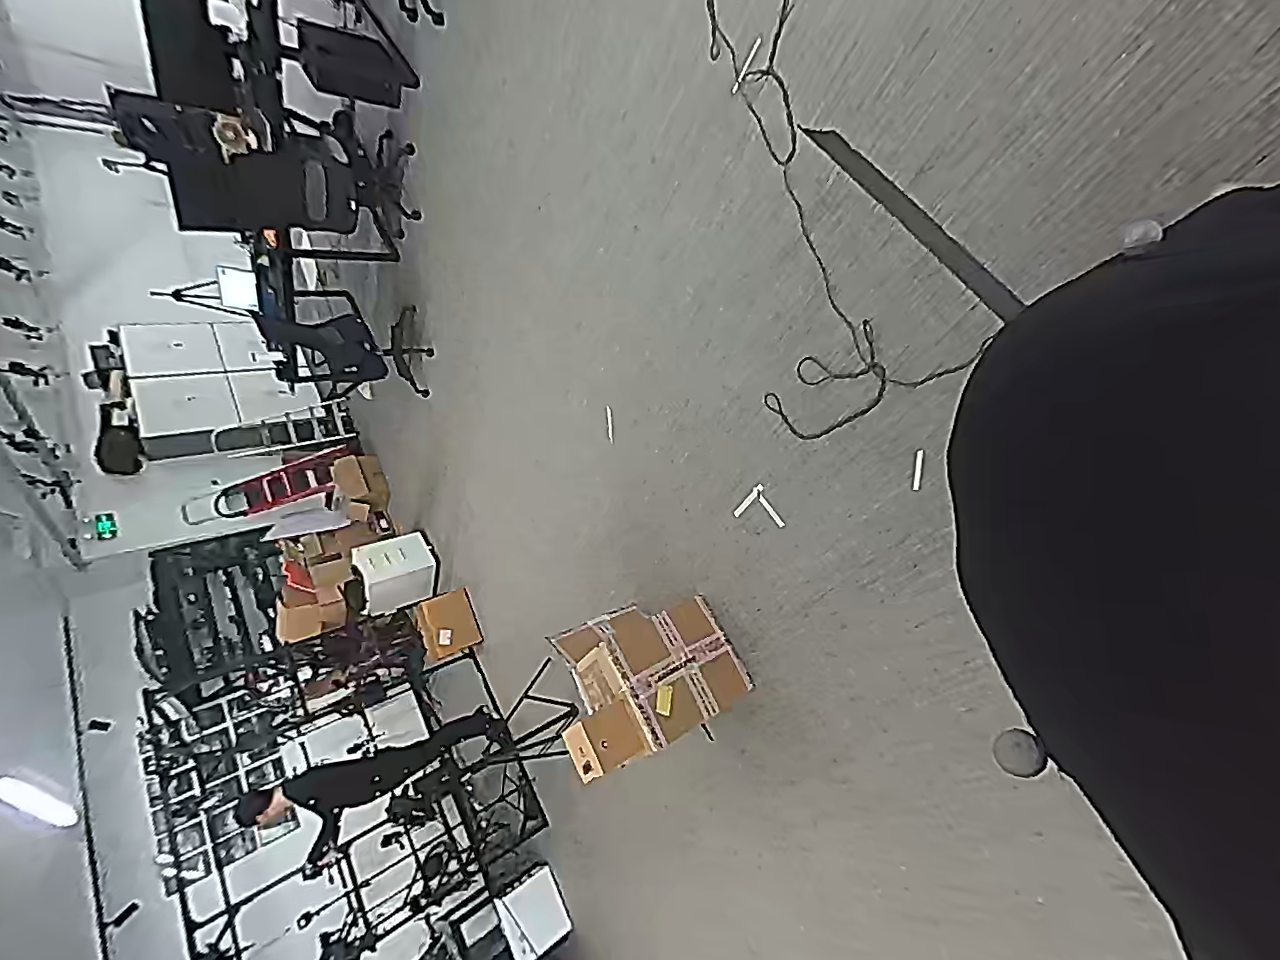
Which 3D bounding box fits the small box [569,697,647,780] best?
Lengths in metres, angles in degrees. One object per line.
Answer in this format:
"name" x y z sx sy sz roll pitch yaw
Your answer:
"small box" -0.104 0.855 1.792 0.179 0.176 0.168 60 137 20
